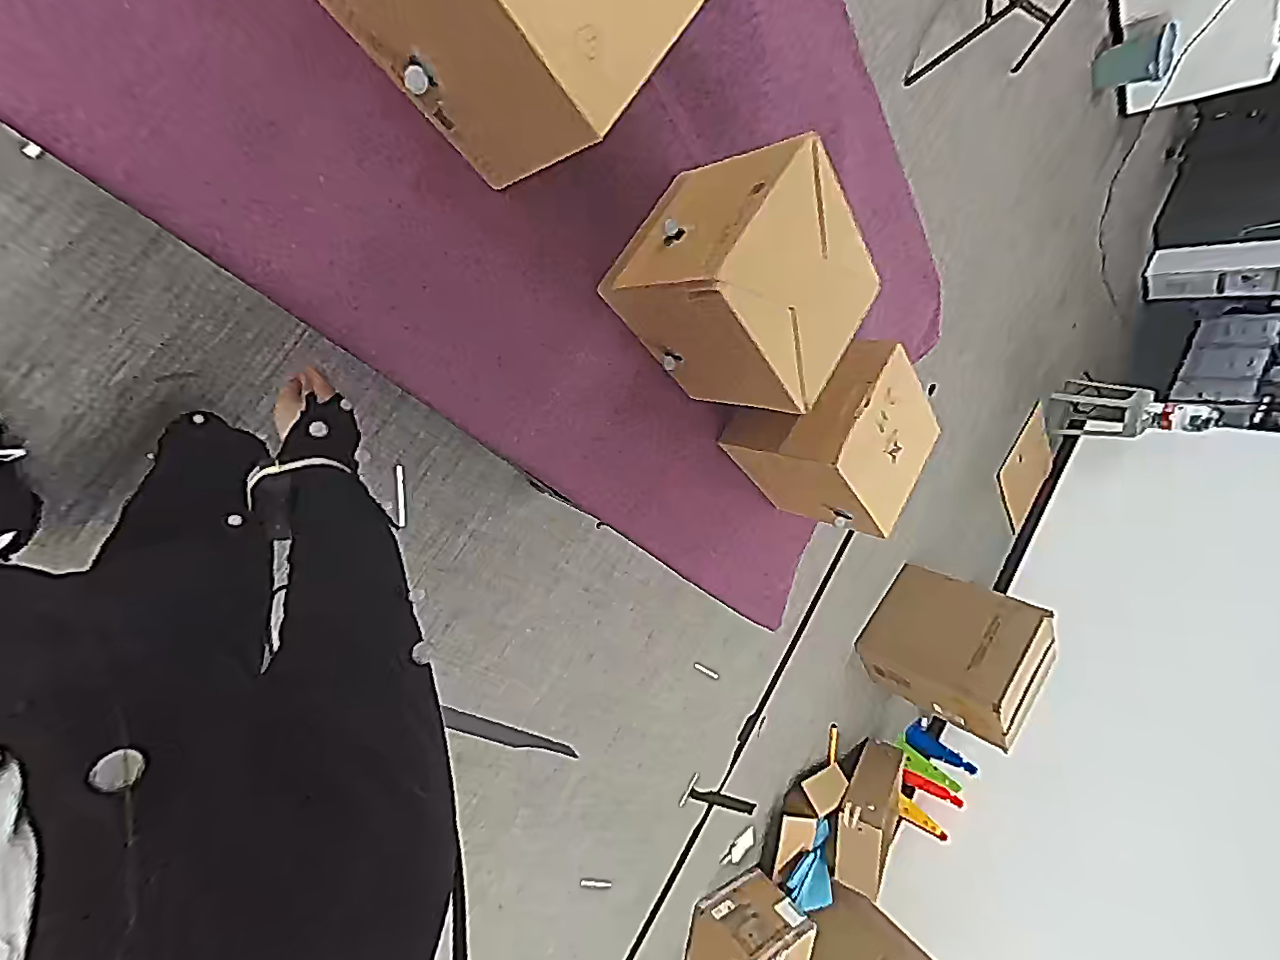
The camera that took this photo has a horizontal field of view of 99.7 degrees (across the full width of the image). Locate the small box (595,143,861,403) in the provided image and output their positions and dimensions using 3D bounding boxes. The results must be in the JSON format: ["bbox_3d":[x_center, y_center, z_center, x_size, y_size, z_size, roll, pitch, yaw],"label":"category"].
[{"bbox_3d":[0.095,-0.196,0.547,0.179,0.176,0.168,42,74,-37],"label":"small box"}]

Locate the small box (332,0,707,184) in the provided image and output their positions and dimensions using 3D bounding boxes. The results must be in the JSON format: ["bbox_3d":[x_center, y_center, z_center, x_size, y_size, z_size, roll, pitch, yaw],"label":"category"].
[{"bbox_3d":[-0.080,-0.344,0.371,0.168,0.176,0.179,40,77,-38],"label":"small box"}]

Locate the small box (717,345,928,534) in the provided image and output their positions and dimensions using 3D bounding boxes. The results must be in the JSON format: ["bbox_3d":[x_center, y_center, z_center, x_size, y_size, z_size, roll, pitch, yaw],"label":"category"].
[{"bbox_3d":[0.234,-0.058,0.697,0.179,0.176,0.168,42,74,-38],"label":"small box"}]
